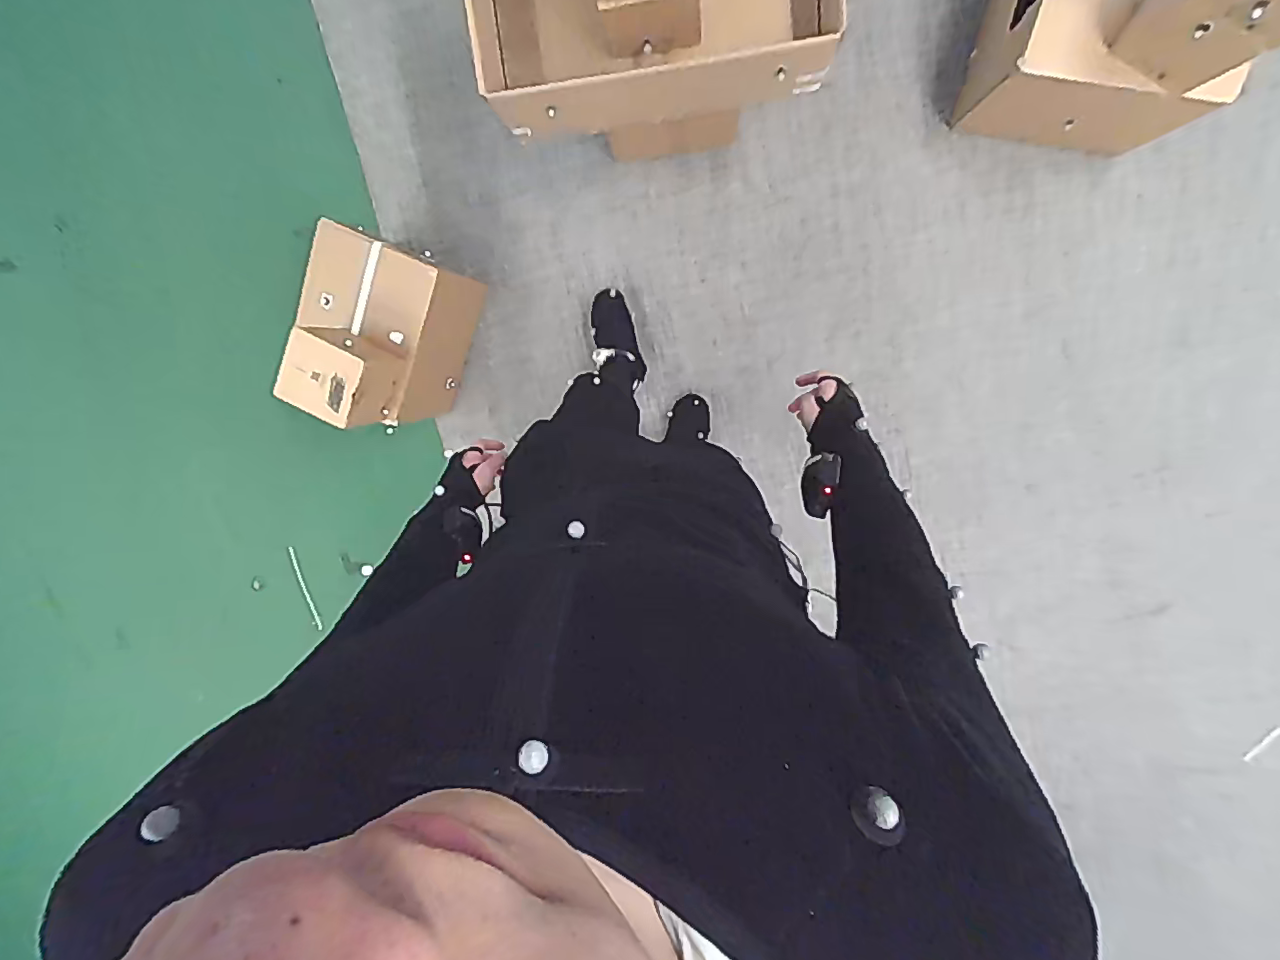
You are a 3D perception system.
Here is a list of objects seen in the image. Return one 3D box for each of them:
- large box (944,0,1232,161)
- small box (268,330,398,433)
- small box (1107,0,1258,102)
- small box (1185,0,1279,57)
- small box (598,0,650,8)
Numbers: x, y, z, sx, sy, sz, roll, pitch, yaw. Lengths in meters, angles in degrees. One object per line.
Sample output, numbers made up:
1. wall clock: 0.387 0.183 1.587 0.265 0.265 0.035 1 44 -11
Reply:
1. large box: 0.958 -0.920 1.156 0.408 0.320 0.320 12 104 4
2. small box: -0.690 -0.228 1.233 0.179 0.176 0.168 27 103 -1
3. small box: 0.976 -0.807 0.927 0.168 0.176 0.179 31 105 -2
4. small box: 0.962 -0.766 0.767 0.168 0.176 0.179 30 106 -1
5. small box: -0.008 -0.818 0.753 0.168 0.176 0.179 -3 104 8
